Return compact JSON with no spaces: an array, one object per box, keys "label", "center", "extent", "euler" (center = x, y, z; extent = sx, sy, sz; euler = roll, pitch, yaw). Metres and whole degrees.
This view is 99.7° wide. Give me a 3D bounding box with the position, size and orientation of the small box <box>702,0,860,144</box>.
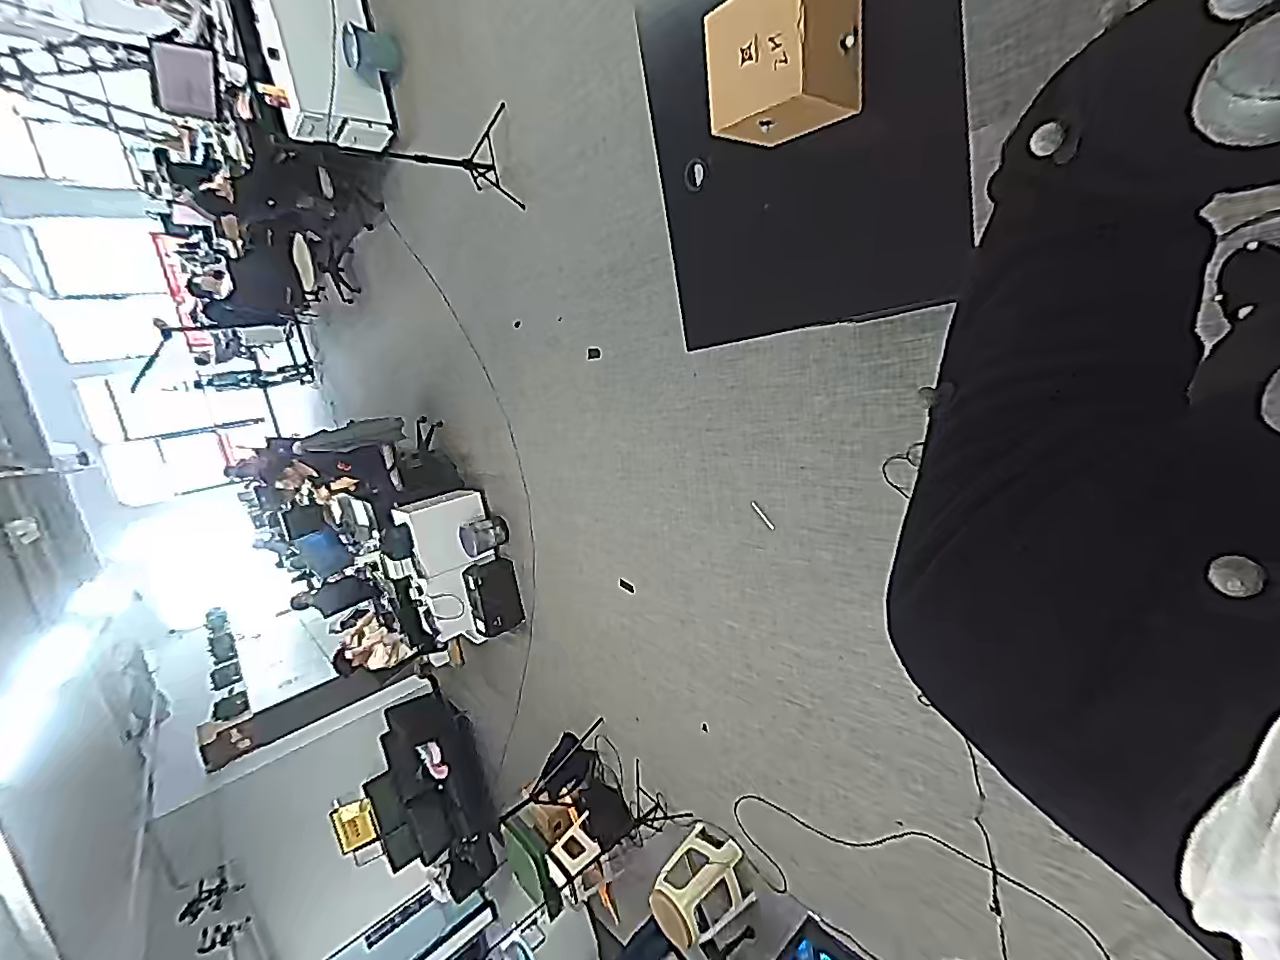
[{"label":"small box","center":[0.221,-0.651,0.850],"extent":[0.179,0.176,0.168],"euler":[11,114,48]}]
